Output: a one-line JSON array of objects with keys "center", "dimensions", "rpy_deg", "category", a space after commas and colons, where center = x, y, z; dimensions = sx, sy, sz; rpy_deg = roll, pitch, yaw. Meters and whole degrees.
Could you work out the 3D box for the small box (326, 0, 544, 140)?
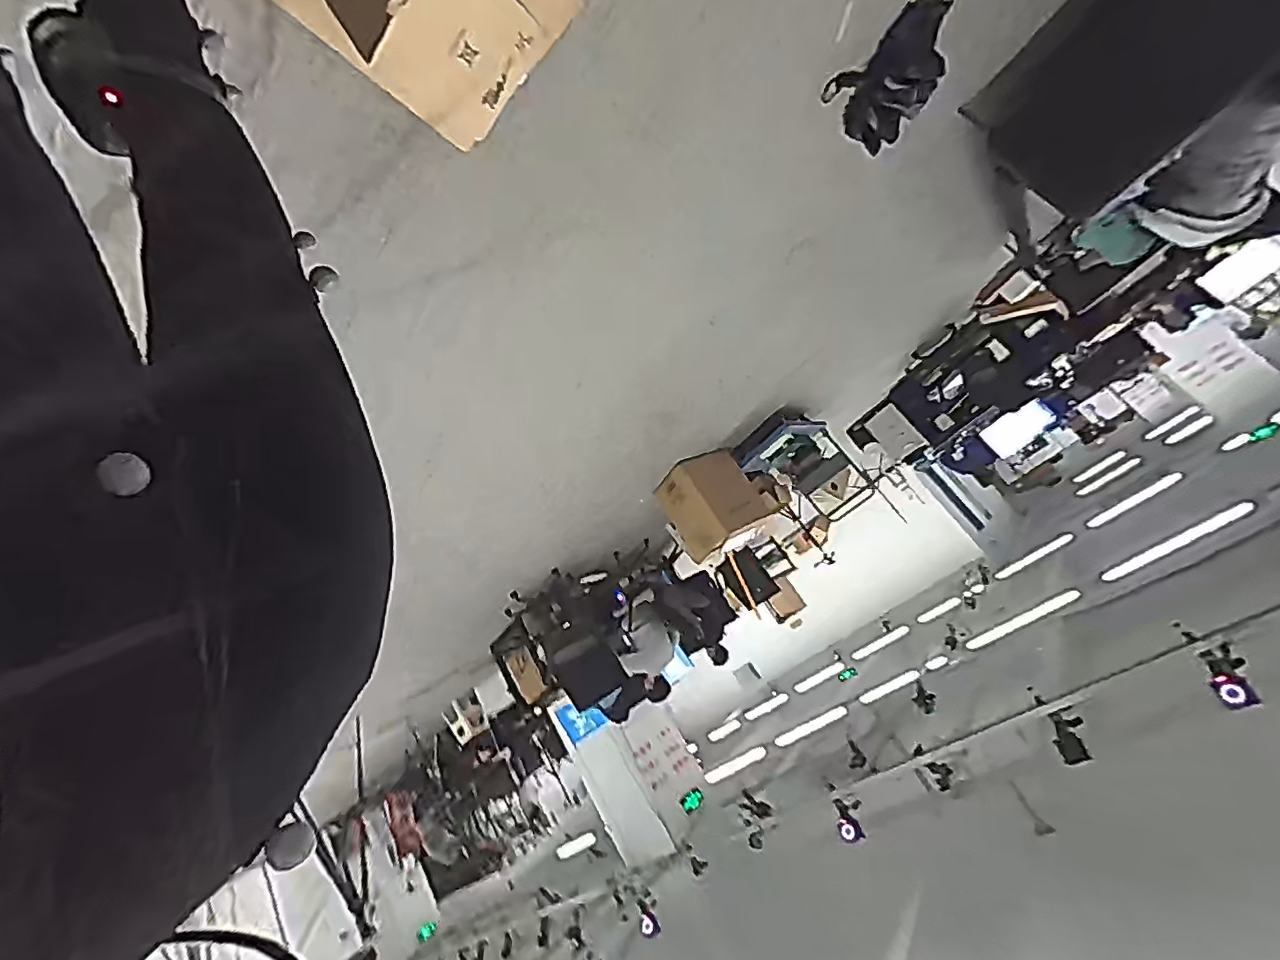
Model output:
[{"center": [-0.265, -0.593, 0.689], "dimensions": [0.168, 0.176, 0.179], "rpy_deg": [-43, 159, 25], "category": "small box"}]
